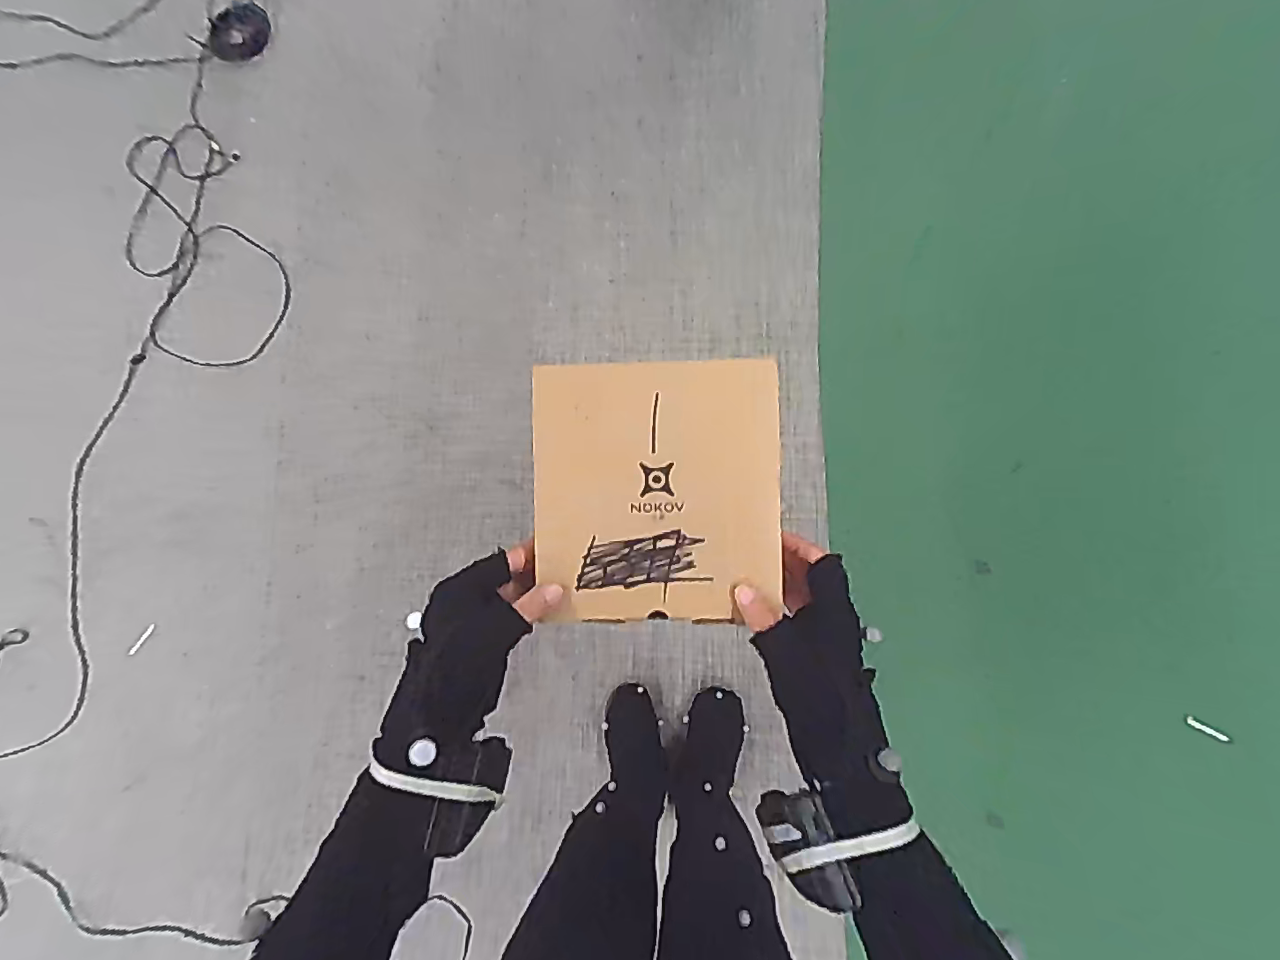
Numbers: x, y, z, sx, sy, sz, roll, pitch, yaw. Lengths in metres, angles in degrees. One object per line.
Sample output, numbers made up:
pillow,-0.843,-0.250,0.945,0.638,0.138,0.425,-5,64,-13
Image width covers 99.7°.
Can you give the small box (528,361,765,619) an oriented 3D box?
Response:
small box,0.011,0.007,0.448,0.168,0.176,0.179,-1,89,5
